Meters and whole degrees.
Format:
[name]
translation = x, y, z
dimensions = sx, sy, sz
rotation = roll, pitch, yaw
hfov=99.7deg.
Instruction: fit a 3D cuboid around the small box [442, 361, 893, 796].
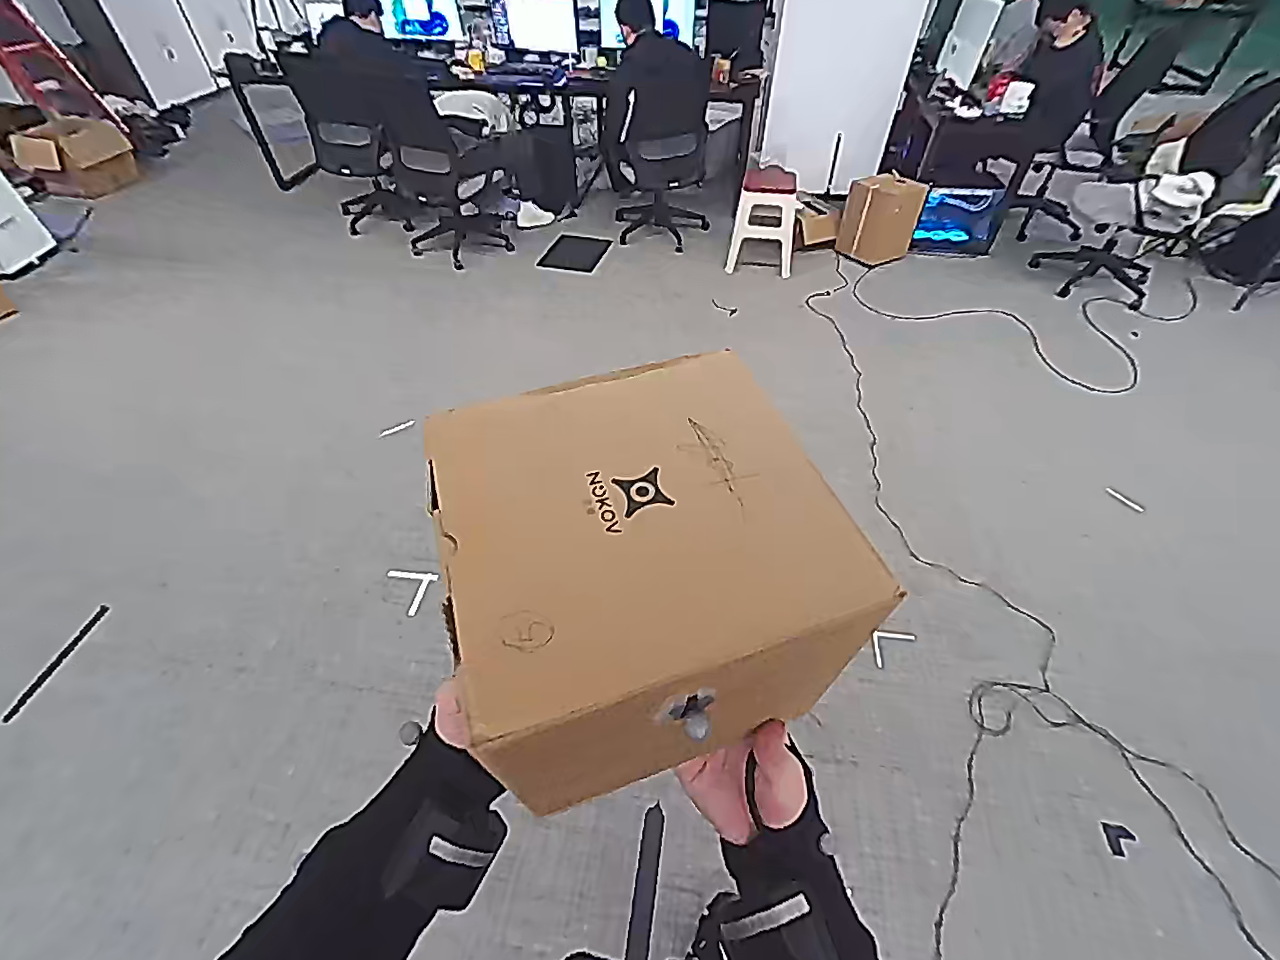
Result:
[small box]
translation = 0.002, 0.060, 0.320
dimensions = 0.179, 0.176, 0.168
rotation = -15, 53, -14
